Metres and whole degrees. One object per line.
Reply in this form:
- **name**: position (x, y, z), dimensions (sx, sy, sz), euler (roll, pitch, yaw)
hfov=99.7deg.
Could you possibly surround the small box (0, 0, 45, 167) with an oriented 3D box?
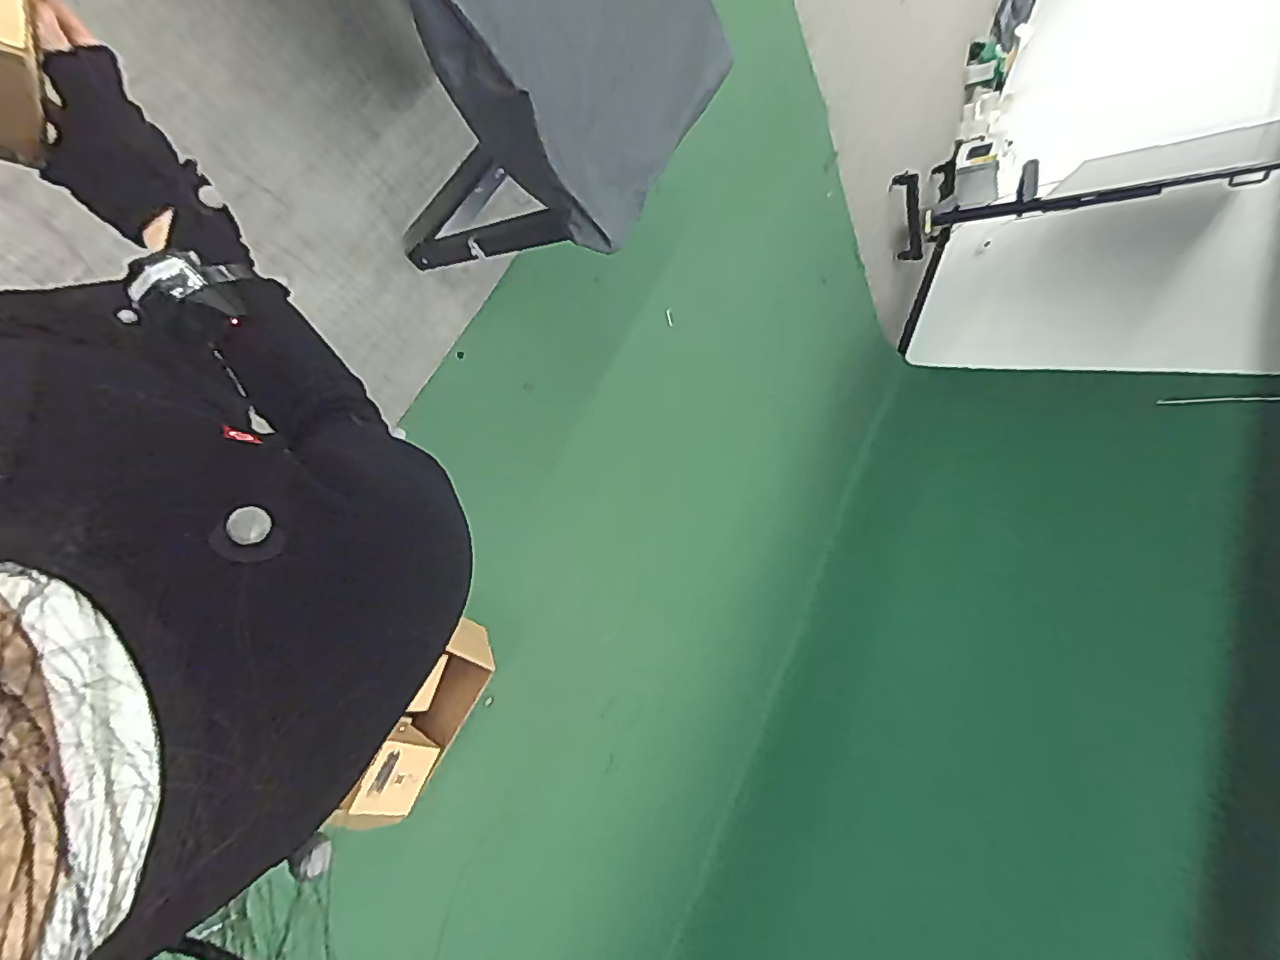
- **small box**: position (-0.470, -0.323, 0.310), dimensions (0.168, 0.176, 0.179), euler (-4, 95, -45)
